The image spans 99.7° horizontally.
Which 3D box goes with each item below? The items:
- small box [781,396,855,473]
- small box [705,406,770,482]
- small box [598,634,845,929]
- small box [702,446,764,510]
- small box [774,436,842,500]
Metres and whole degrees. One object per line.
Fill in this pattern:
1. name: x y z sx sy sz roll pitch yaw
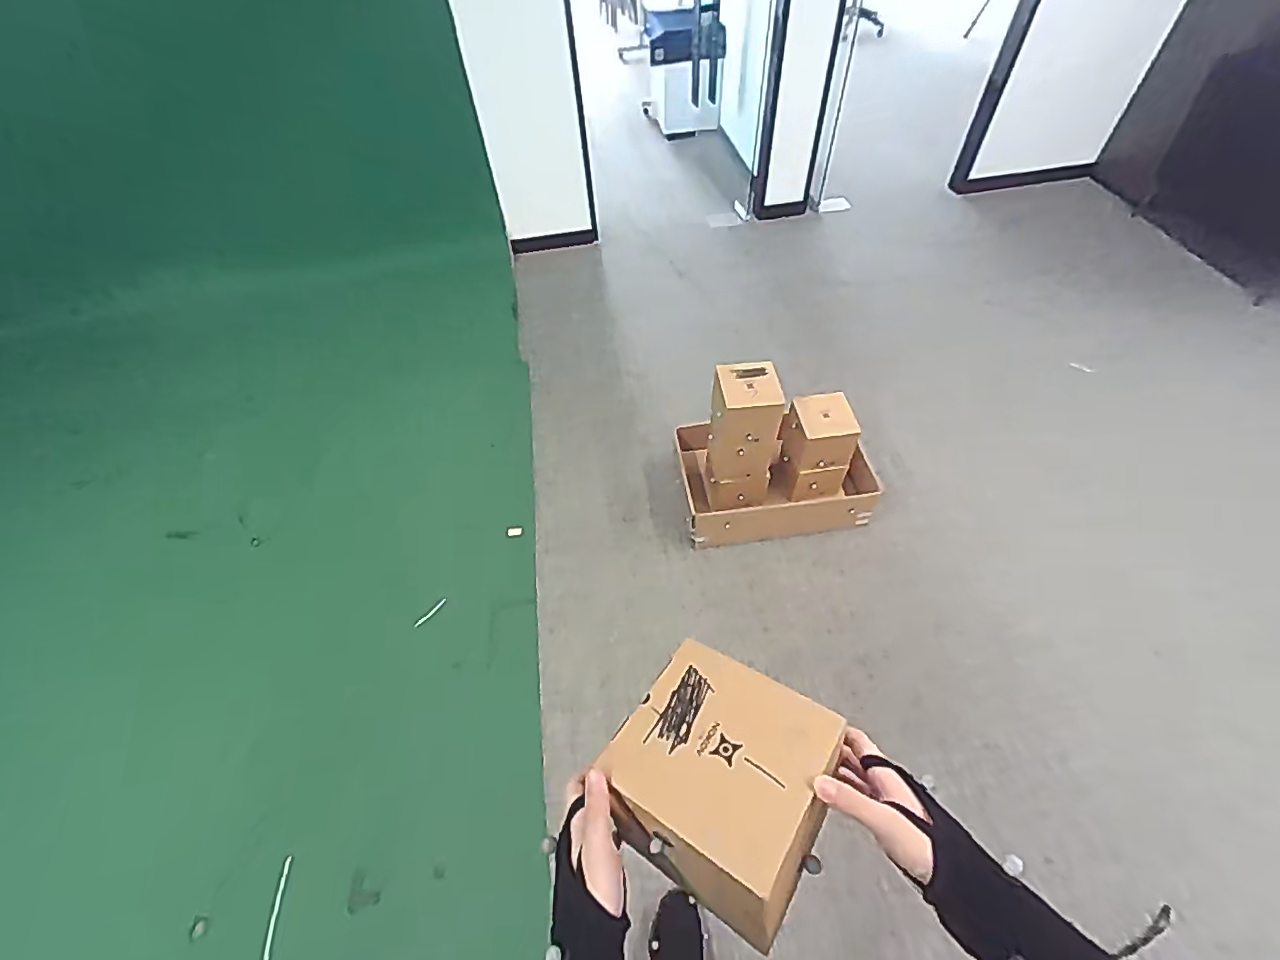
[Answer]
1. small box: 0.563 -0.145 1.738 0.168 0.176 0.179 -7 53 0
2. small box: 0.303 -0.113 1.722 0.168 0.176 0.179 -4 52 0
3. small box: 0.084 0.299 0.547 0.179 0.176 0.168 20 46 32
4. small box: 0.313 -0.012 1.852 0.168 0.176 0.179 -7 53 -5
5. small box: 0.572 -0.044 1.866 0.168 0.176 0.179 -8 53 -3
